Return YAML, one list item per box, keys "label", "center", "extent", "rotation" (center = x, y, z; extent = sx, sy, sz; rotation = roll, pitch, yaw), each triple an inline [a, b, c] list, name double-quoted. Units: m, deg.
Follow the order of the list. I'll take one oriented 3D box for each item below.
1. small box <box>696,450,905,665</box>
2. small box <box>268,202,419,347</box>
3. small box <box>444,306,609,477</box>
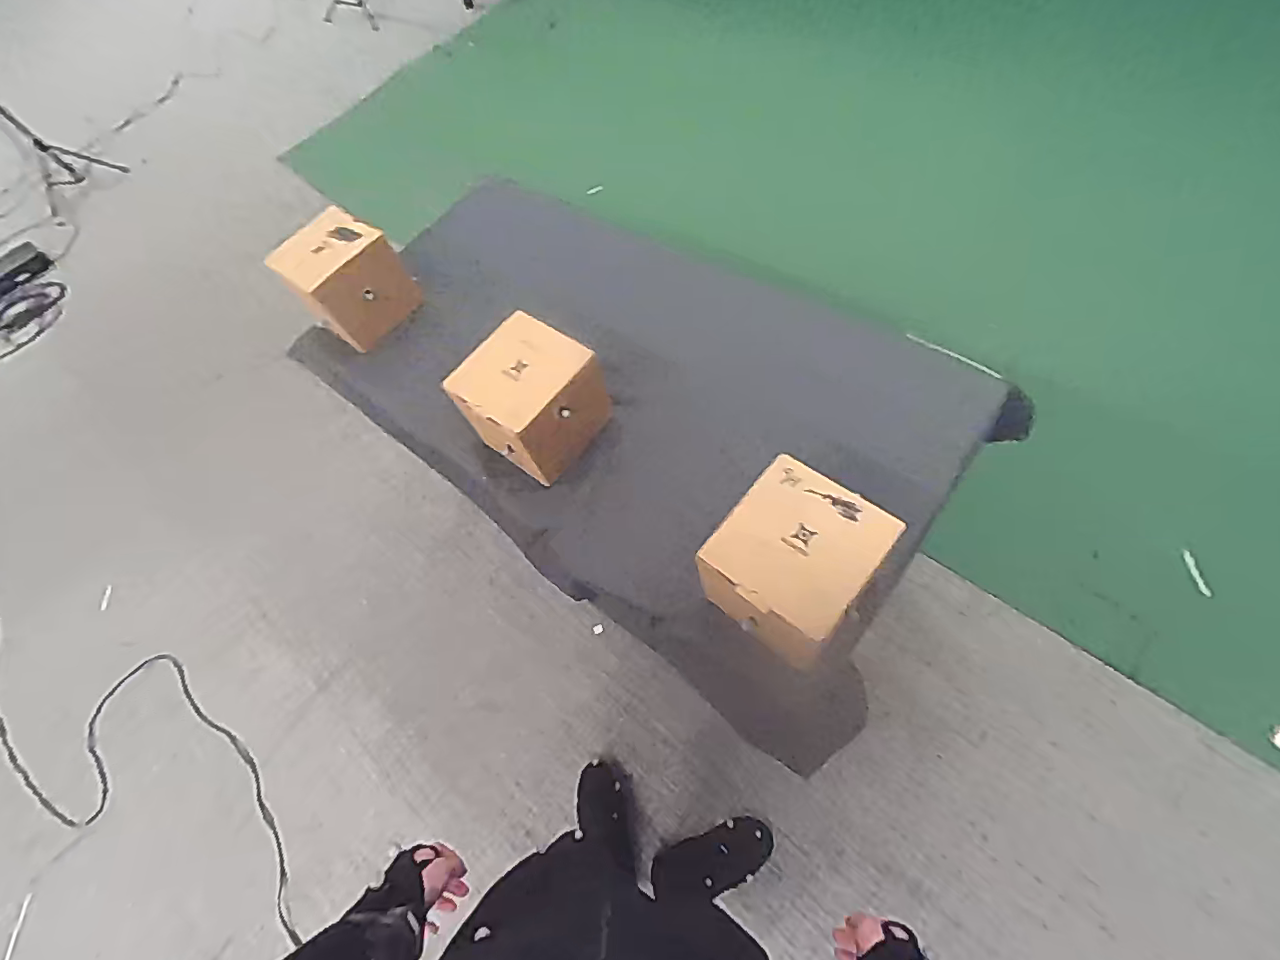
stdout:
- label: "small box"
  center: [0.194, 0.103, 0.673]
  extent: [0.168, 0.176, 0.179]
  rotation: [36, 74, 26]
- label: "small box"
  center: [-0.568, -0.402, 1.069]
  extent: [0.168, 0.176, 0.179]
  rotation: [34, 73, 23]
- label: "small box"
  center: [-0.168, -0.135, 0.866]
  extent: [0.168, 0.176, 0.179]
  rotation: [33, 71, 22]
